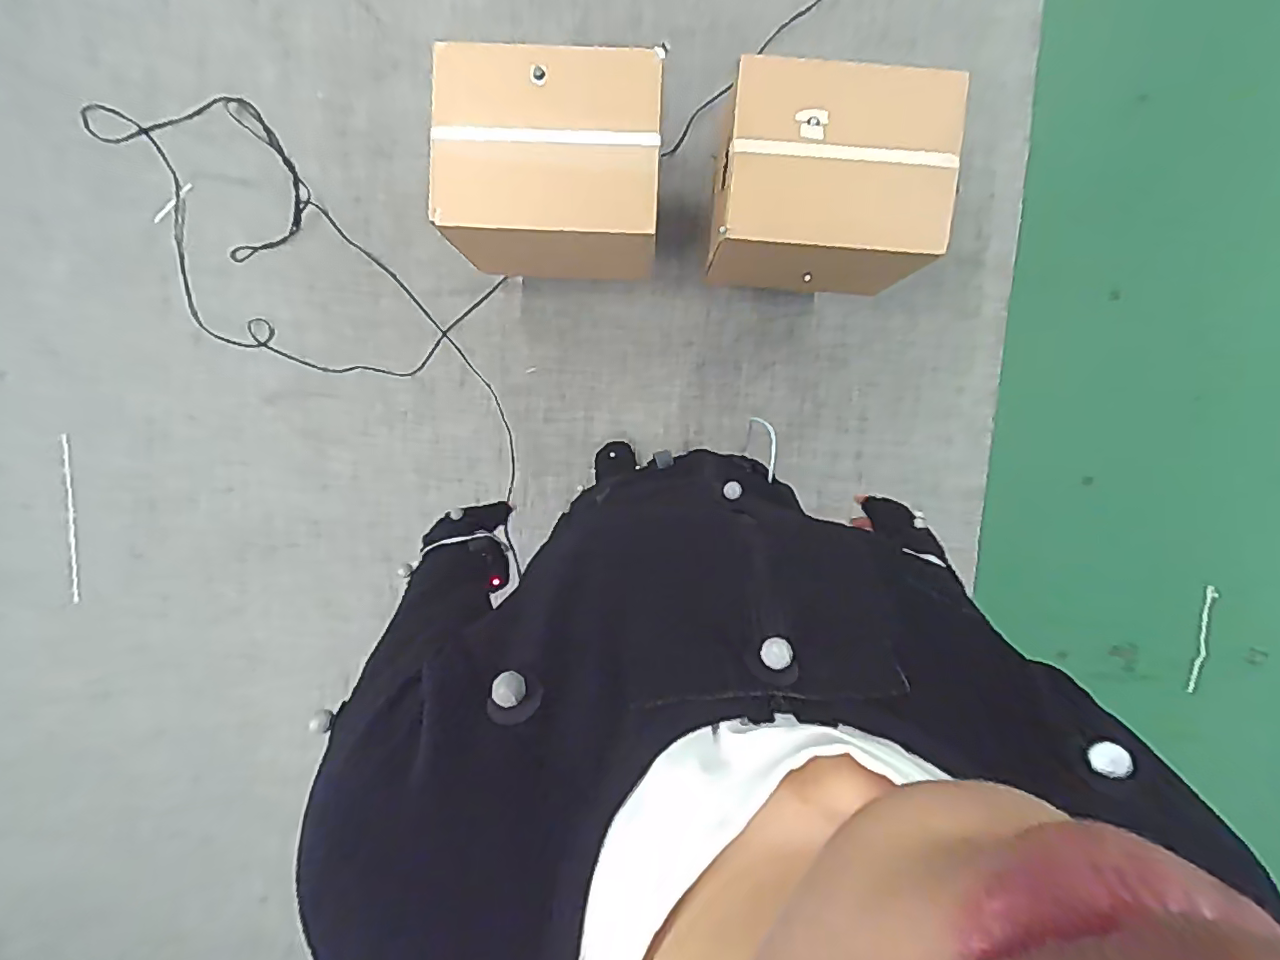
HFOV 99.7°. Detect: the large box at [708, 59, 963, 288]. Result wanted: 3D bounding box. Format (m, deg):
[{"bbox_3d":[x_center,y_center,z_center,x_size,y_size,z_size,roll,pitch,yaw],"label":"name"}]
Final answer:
[{"bbox_3d":[0.368,-0.598,1.118,0.408,0.320,0.320,5,96,0],"label":"large box"}]
